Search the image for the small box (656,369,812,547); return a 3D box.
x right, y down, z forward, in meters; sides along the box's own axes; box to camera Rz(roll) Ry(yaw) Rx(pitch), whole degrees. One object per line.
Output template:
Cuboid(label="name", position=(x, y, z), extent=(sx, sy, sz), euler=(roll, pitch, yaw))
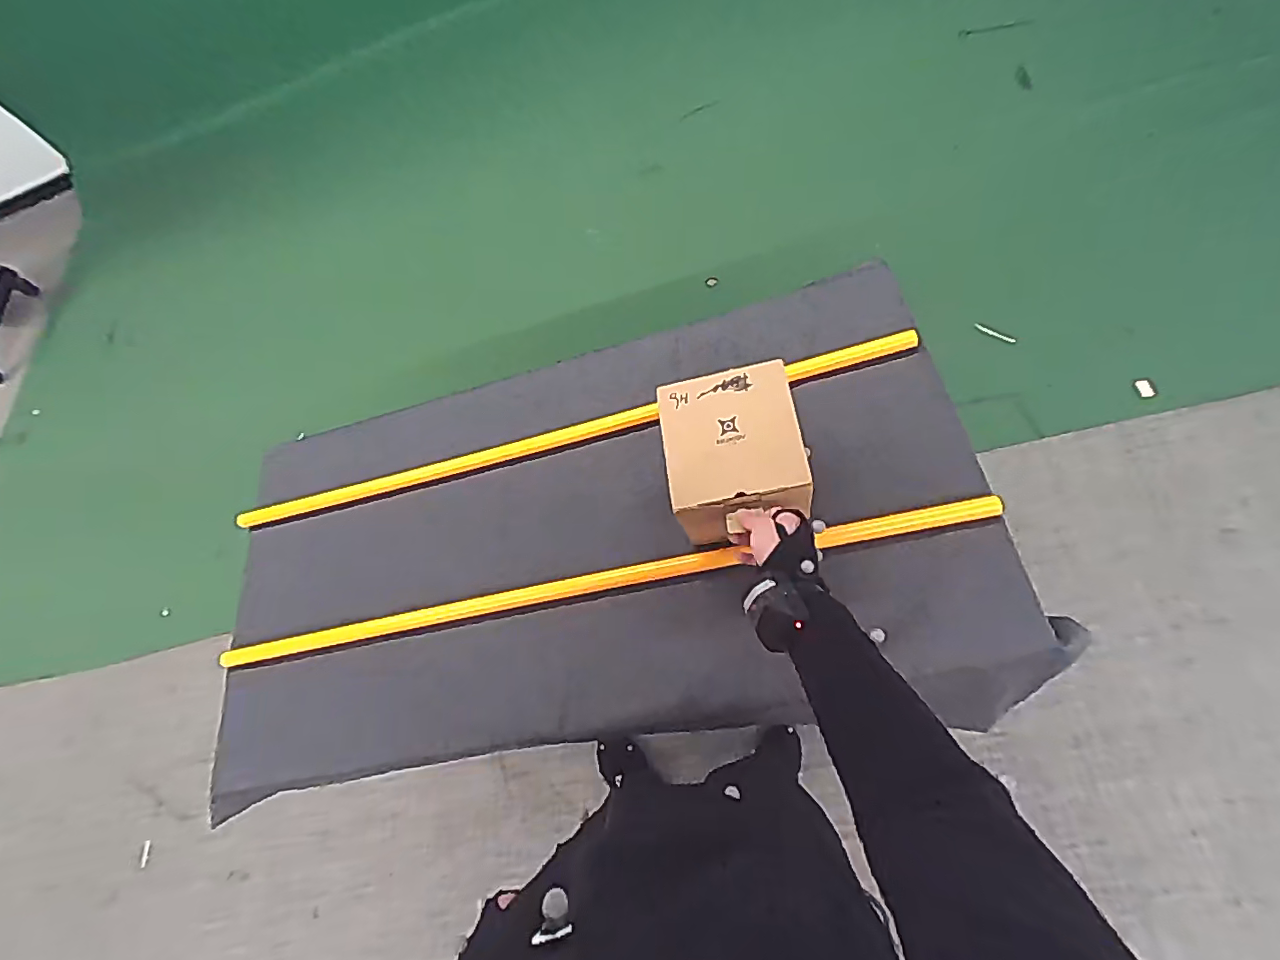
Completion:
Cuboid(label="small box", position=(0.133, -0.016, 0.737), extent=(0.168, 0.176, 0.179), euler=(-15, 65, 12))
